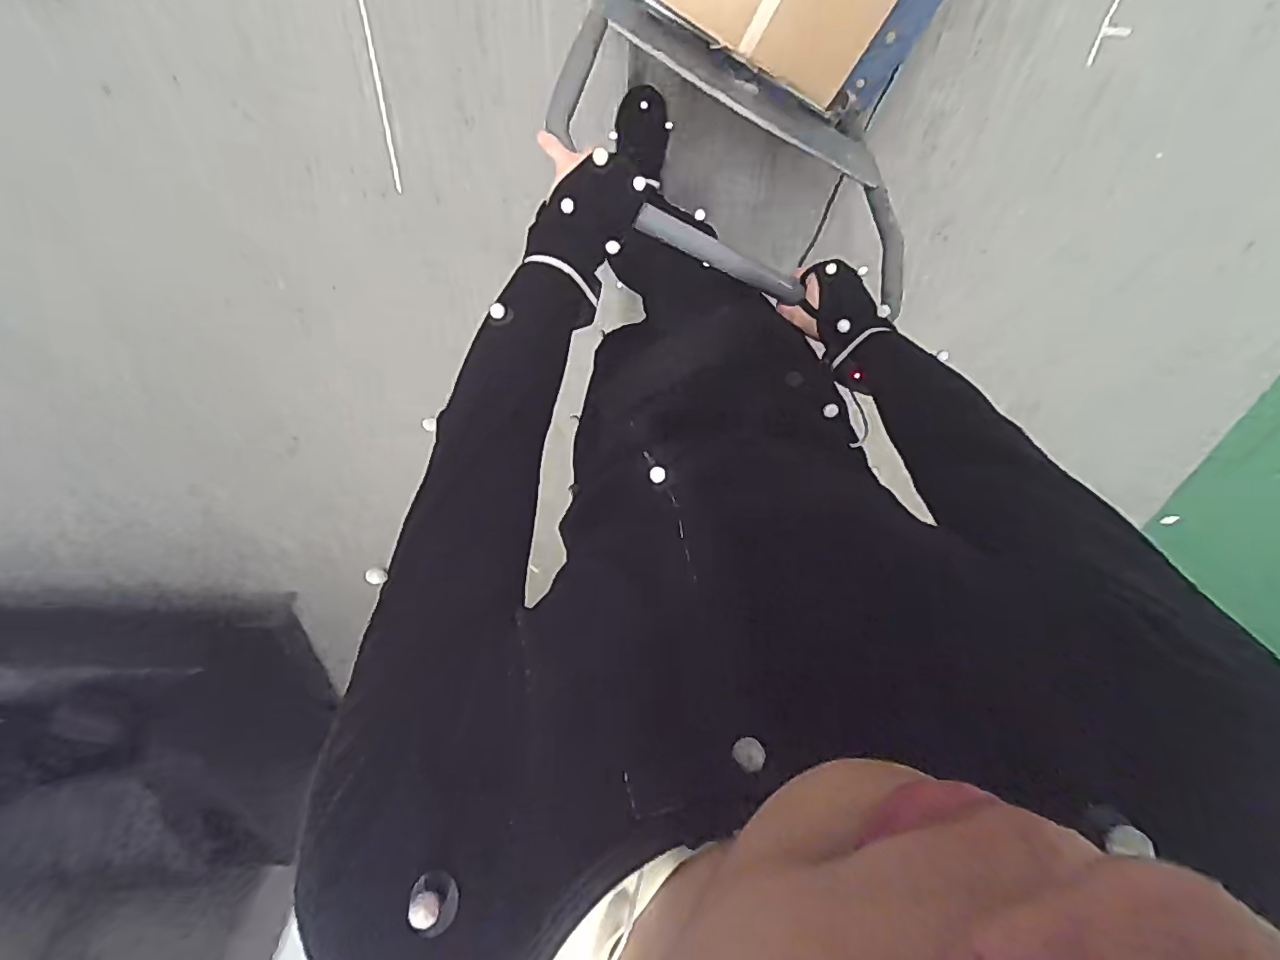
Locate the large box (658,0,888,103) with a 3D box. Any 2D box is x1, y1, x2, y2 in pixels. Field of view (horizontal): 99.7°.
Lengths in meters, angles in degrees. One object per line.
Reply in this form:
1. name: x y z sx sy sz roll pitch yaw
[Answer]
1. large box: 0.241 -0.856 0.759 0.320 0.320 0.408 20 137 -17
